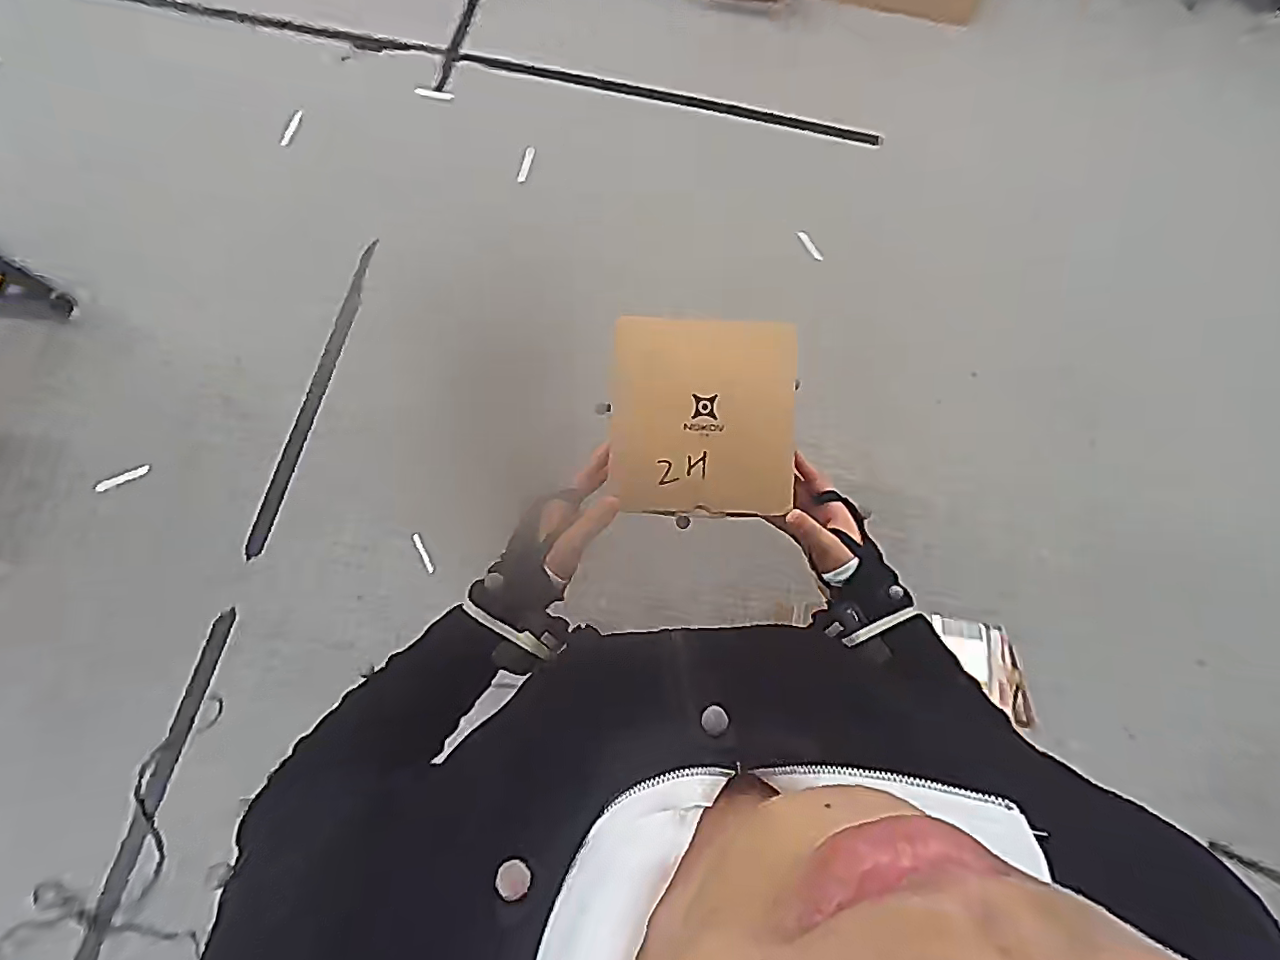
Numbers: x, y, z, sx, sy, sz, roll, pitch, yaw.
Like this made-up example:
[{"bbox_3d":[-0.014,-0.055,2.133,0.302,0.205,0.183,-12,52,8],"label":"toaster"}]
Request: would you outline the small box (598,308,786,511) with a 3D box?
[{"bbox_3d":[0.042,-0.058,0.554,0.168,0.176,0.179,1,87,-3],"label":"small box"}]
